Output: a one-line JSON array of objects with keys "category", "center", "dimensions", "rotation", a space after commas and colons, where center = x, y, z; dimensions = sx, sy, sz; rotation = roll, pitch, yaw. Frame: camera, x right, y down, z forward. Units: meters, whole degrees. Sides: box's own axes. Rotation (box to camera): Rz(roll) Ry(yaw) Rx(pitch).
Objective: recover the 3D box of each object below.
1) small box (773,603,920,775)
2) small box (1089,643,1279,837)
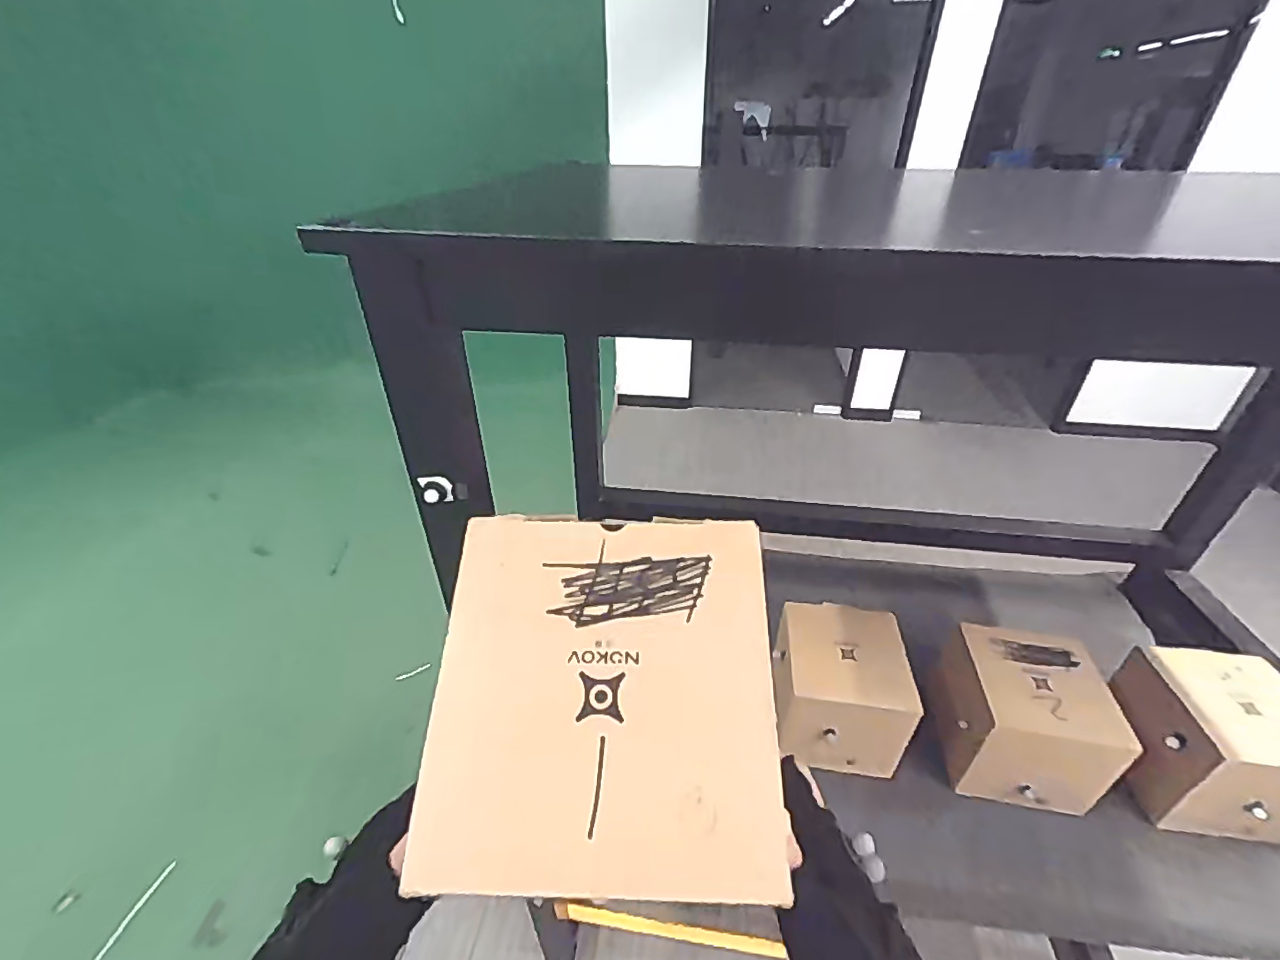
[{"category": "small box", "center": [0.298, 0.315, 0.821], "dimensions": [0.168, 0.176, 0.179], "rotation": [5, 33, 7]}, {"category": "small box", "center": [0.784, 0.356, 0.746], "dimensions": [0.168, 0.176, 0.179], "rotation": [4, 32, 6]}]
